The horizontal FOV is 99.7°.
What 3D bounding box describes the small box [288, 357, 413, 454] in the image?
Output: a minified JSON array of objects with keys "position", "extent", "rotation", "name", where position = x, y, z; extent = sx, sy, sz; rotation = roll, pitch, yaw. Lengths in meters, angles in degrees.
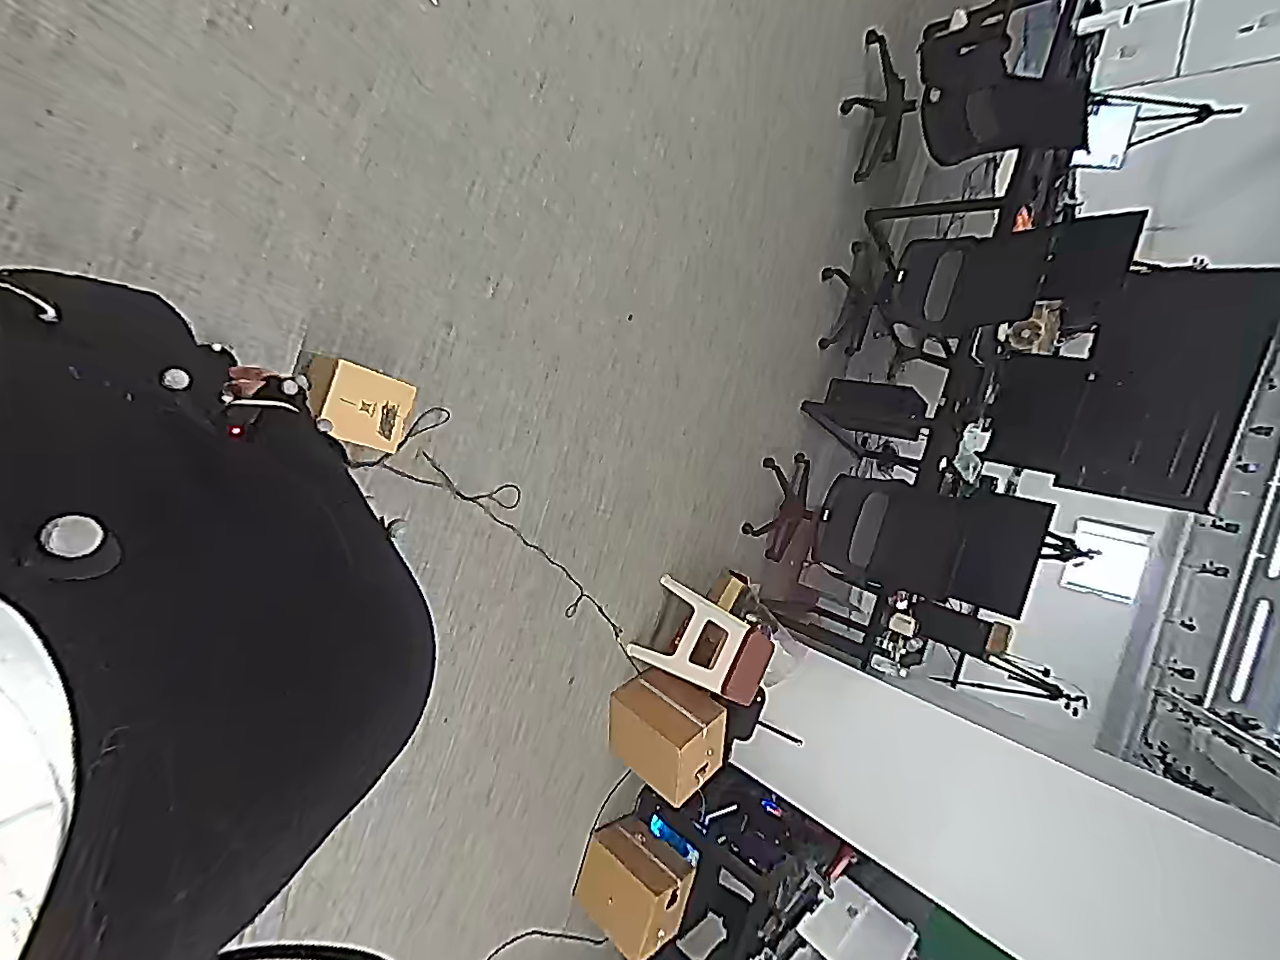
[{"position":[-0.658,-0.172,1.227],"extent":[0.179,0.176,0.168],"rotation":[20,87,-49],"name":"small box"}]
